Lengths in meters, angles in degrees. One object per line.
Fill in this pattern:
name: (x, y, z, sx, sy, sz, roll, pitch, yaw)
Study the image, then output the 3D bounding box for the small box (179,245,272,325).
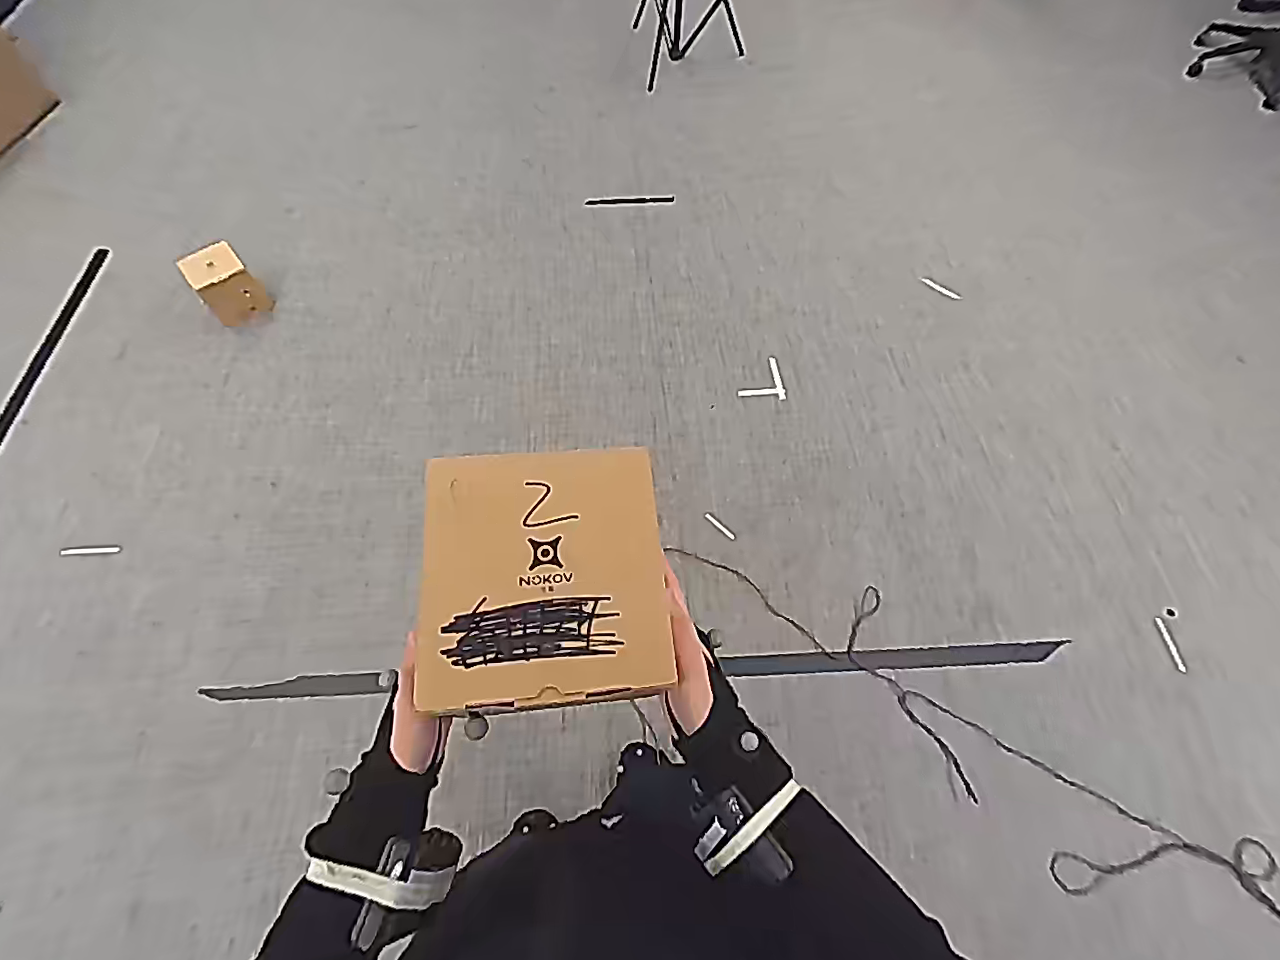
small box: (-1.413, -0.660, 1.854, 0.168, 0.176, 0.179, -37, 68, -19)
